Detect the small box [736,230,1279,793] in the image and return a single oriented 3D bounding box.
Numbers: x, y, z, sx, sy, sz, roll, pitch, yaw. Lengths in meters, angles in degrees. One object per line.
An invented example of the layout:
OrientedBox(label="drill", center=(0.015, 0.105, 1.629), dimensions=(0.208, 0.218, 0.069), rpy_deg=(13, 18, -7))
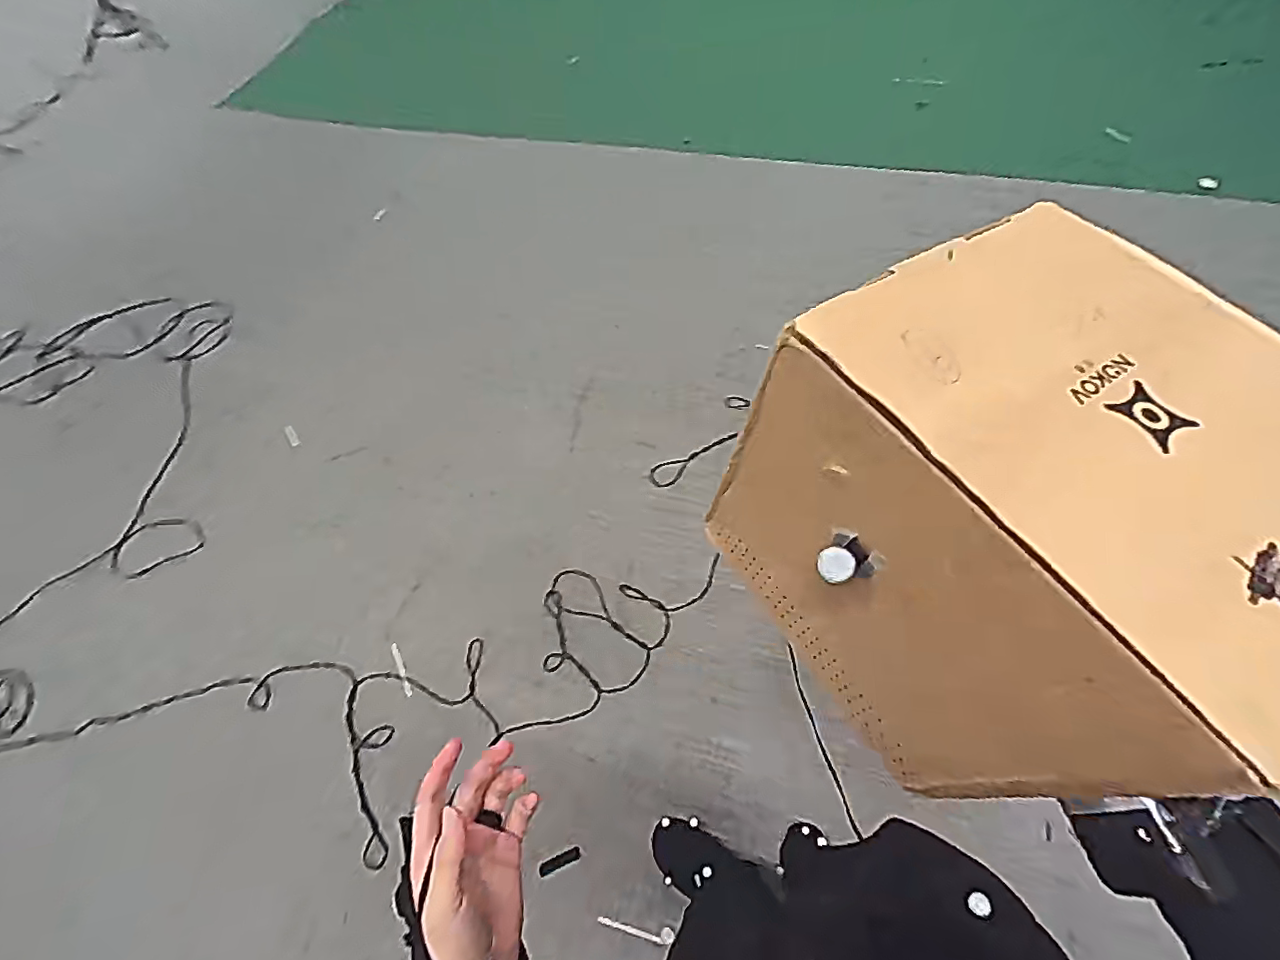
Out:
OrientedBox(label="small box", center=(0.170, 0.022, 0.259), dimensions=(0.168, 0.176, 0.179), rpy_deg=(-28, 65, -20))
